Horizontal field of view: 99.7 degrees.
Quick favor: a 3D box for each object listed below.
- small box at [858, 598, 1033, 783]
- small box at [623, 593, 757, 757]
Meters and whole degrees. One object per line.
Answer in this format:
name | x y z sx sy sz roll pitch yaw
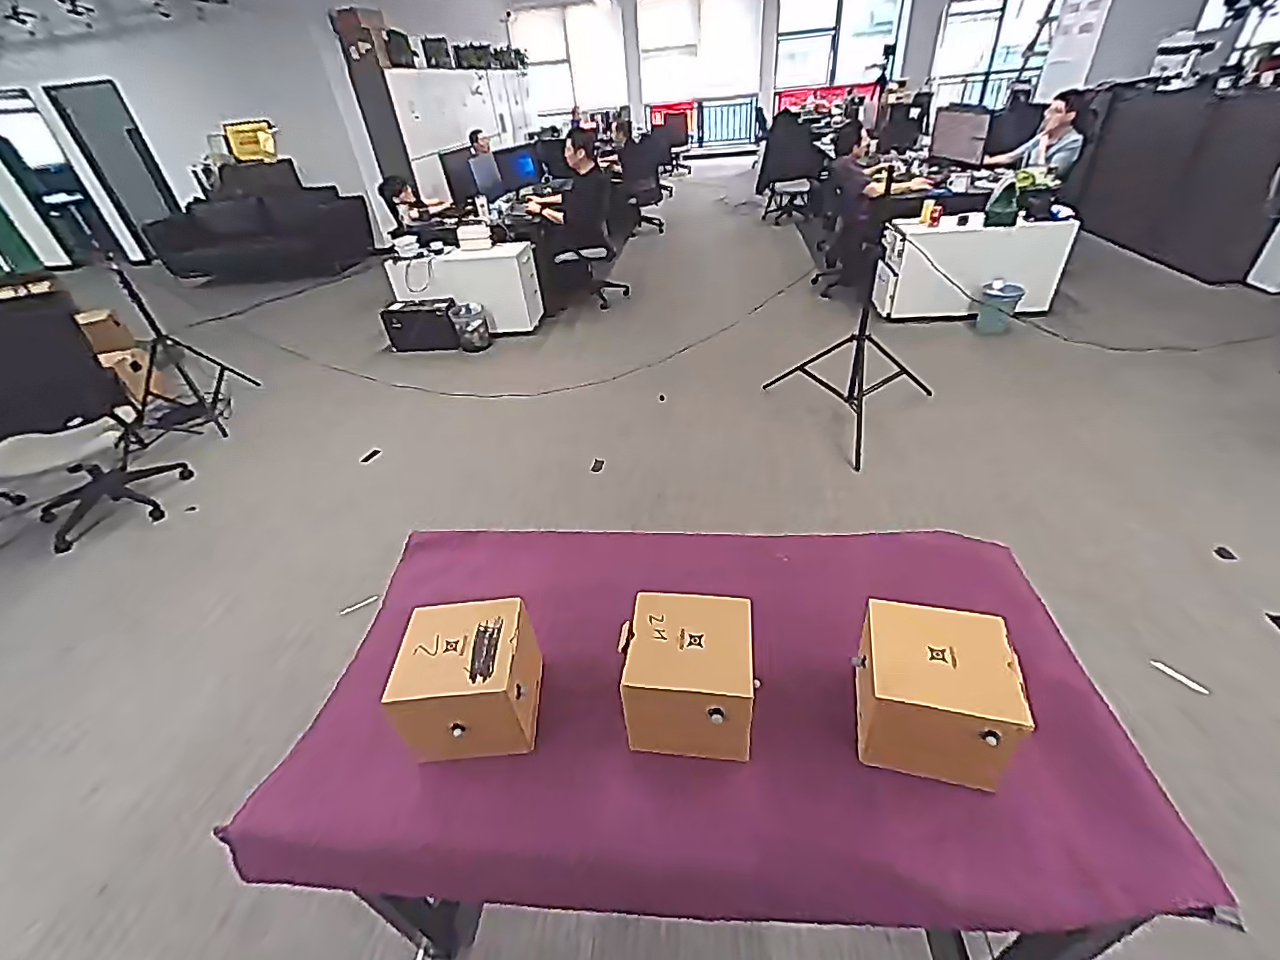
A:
small box | 0.406 0.293 0.759 0.179 0.176 0.168 5 38 16
small box | 0.080 0.292 0.811 0.179 0.176 0.168 0 36 10
